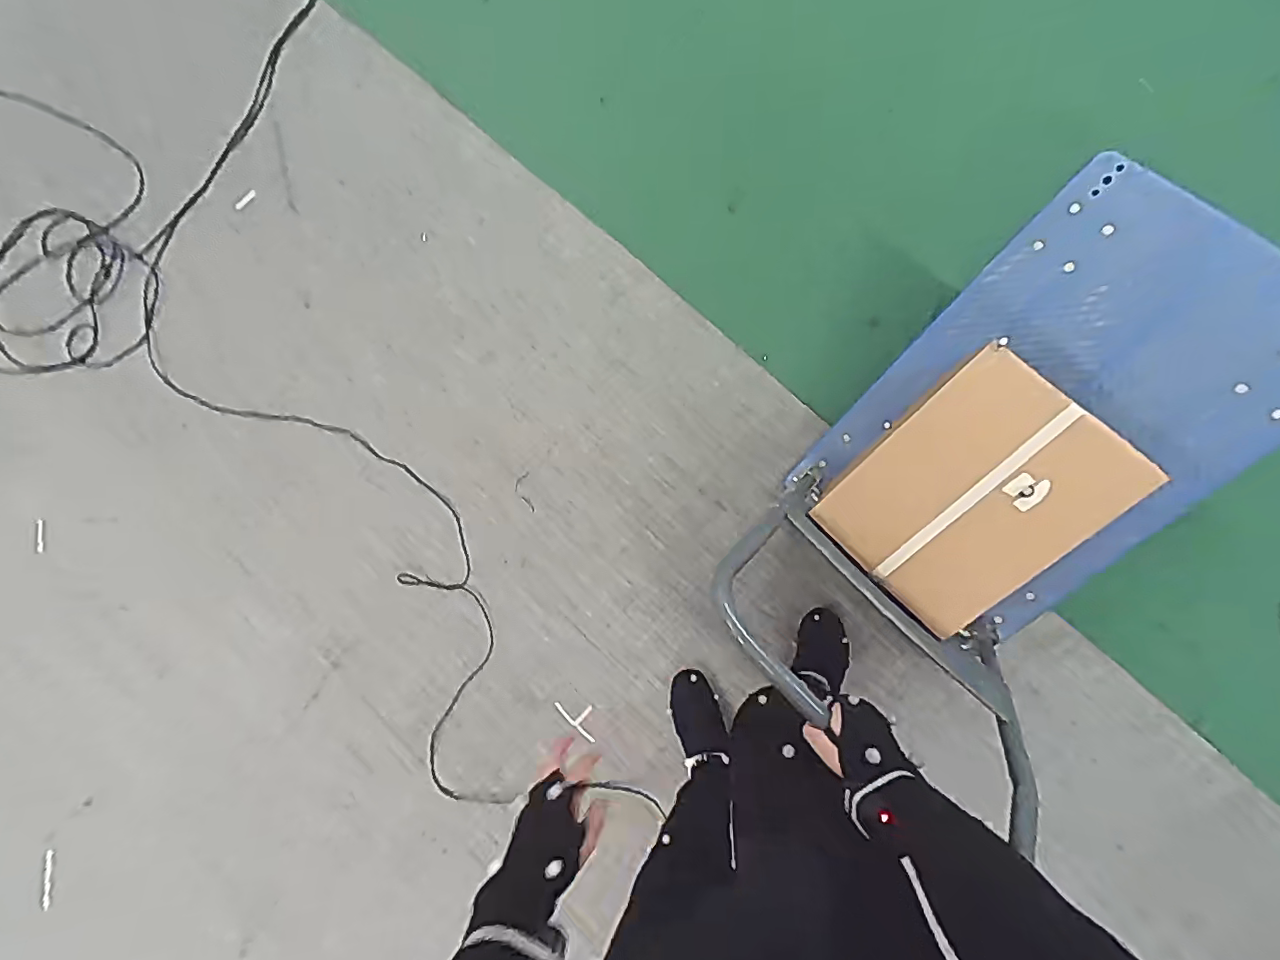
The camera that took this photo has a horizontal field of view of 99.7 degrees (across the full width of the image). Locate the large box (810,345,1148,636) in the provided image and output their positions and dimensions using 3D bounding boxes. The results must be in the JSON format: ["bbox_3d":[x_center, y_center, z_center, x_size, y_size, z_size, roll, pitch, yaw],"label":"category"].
[{"bbox_3d":[0.594,0.014,1.037,0.320,0.320,0.408,45,111,12],"label":"large box"}]
